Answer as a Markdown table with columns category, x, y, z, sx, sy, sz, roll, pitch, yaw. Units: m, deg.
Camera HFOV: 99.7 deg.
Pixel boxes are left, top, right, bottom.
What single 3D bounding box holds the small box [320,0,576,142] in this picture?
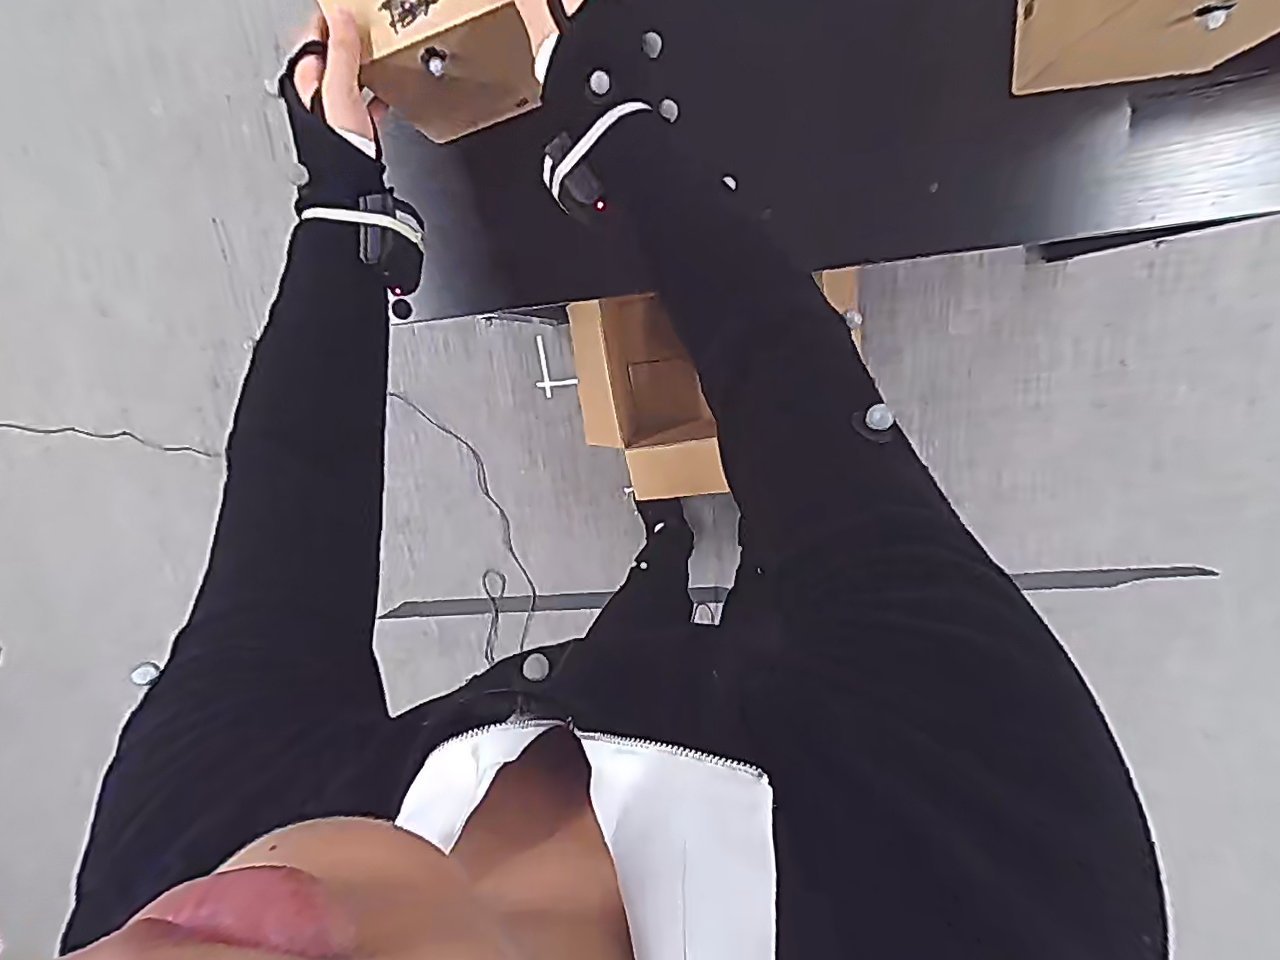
| category | x | y | z | sx | sy | sz | roll | pitch | yaw |
| --- | --- | --- | --- | --- | --- | --- | --- | --- | --- |
| small box | -0.166 | -0.433 | 0.464 | 0.168 | 0.176 | 0.179 | -15 | 104 | 7 |

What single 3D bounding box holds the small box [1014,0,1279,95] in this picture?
| category | x | y | z | sx | sy | sz | roll | pitch | yaw |
| --- | --- | --- | --- | --- | --- | --- | --- | --- | --- |
| small box | 0.430 | -0.430 | 0.419 | 0.179 | 0.176 | 0.168 | -4 | 104 | 5 |
